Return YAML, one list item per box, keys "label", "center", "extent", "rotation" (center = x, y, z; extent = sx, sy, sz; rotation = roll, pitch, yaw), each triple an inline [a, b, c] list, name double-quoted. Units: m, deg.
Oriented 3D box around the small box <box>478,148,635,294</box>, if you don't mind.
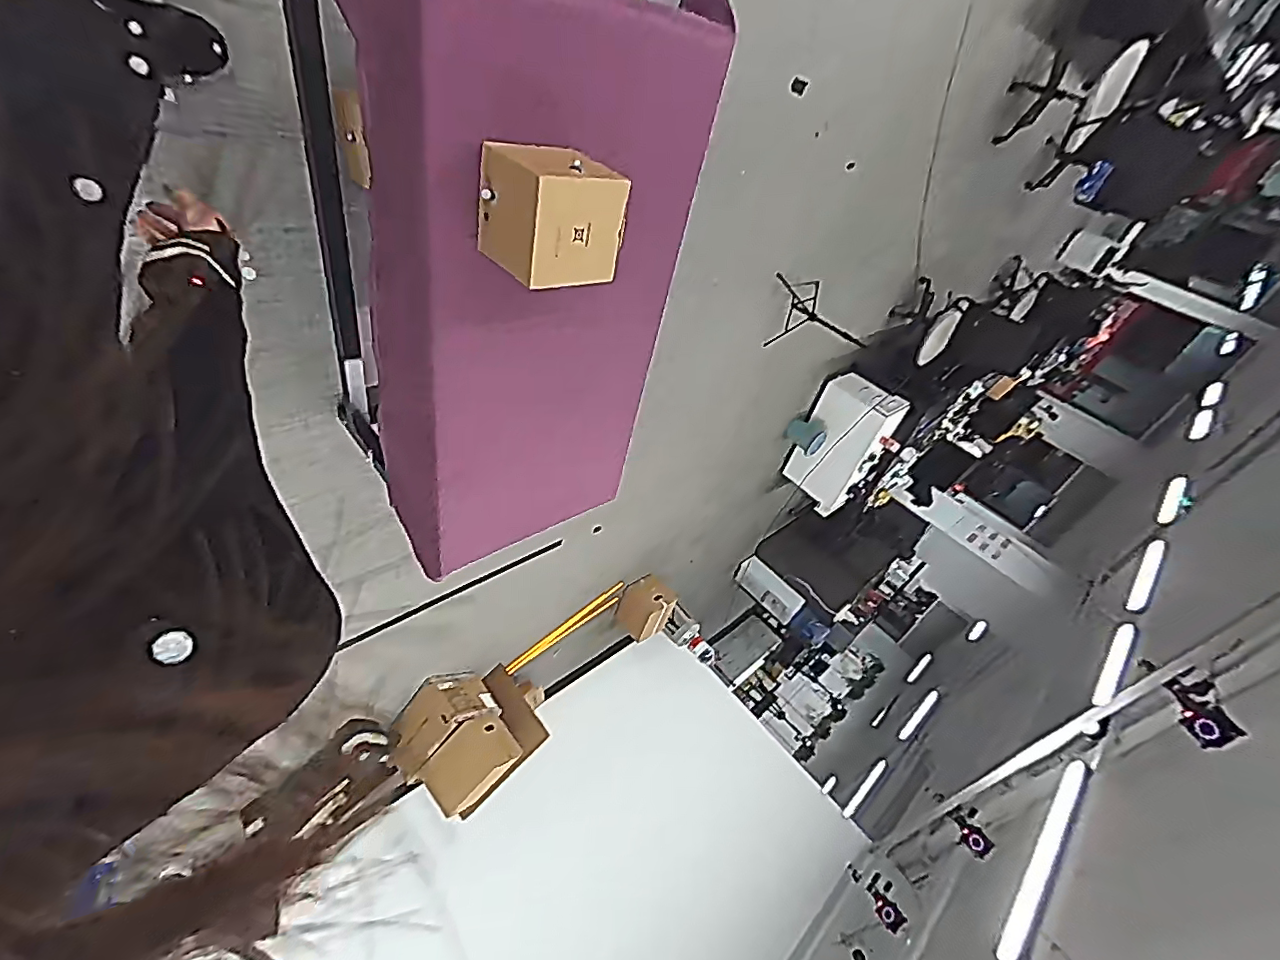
- label: "small box"
  center: [-0.140, -0.424, 0.884]
  extent: [0.179, 0.176, 0.168]
  rotation: [-22, 143, -38]
